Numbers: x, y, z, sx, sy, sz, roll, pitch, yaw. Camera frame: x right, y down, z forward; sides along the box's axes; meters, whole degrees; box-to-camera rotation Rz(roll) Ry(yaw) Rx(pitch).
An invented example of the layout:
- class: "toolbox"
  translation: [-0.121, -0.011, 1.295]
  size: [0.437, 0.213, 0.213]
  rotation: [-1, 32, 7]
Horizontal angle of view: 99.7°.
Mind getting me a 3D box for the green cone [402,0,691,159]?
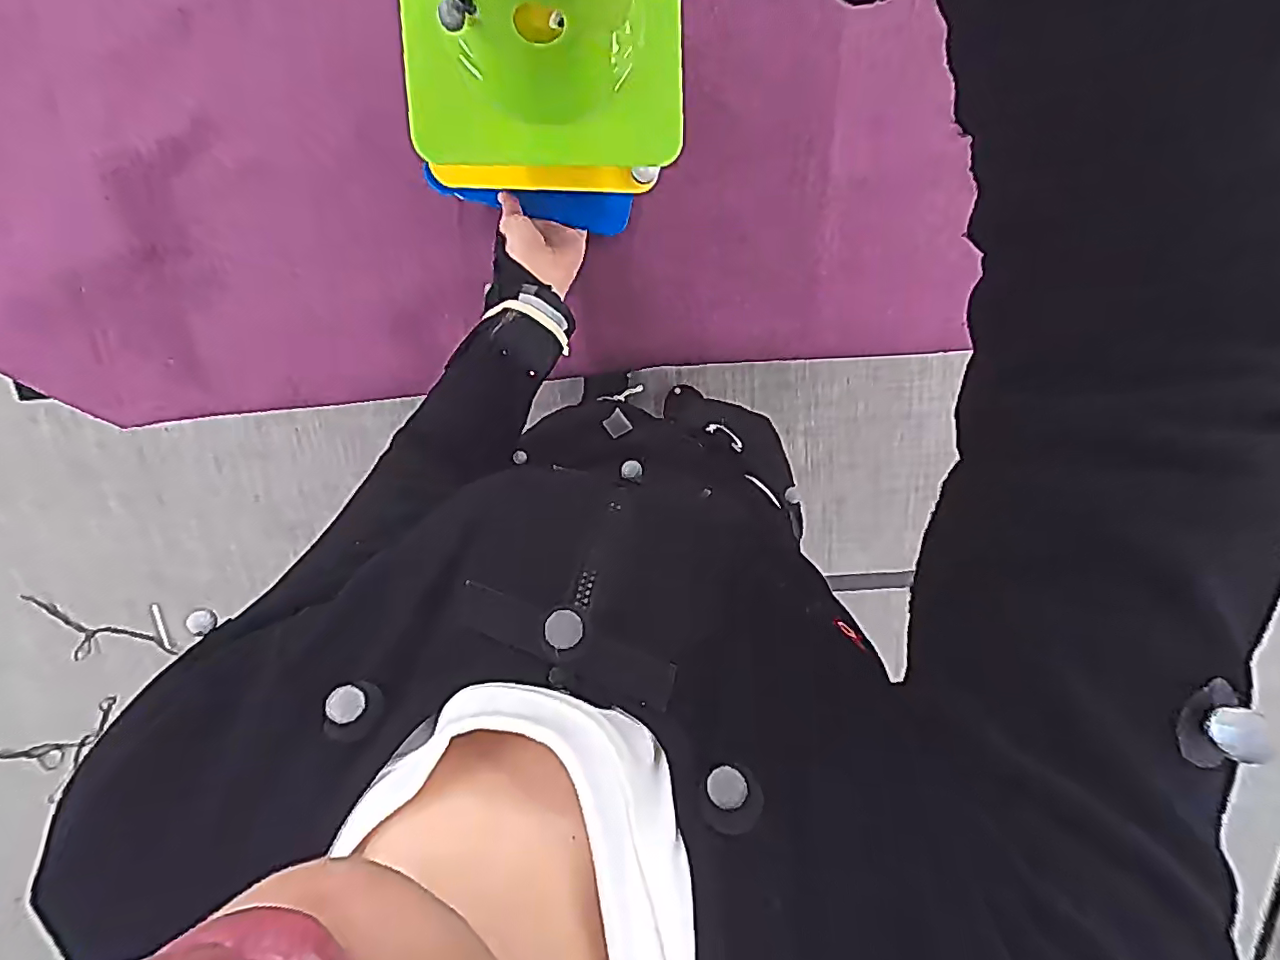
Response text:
- class: "green cone"
  translation: [-0.050, -0.310, 0.210]
  size: [0.200, 0.368, 0.202]
  rotation: [-3, 99, -4]
